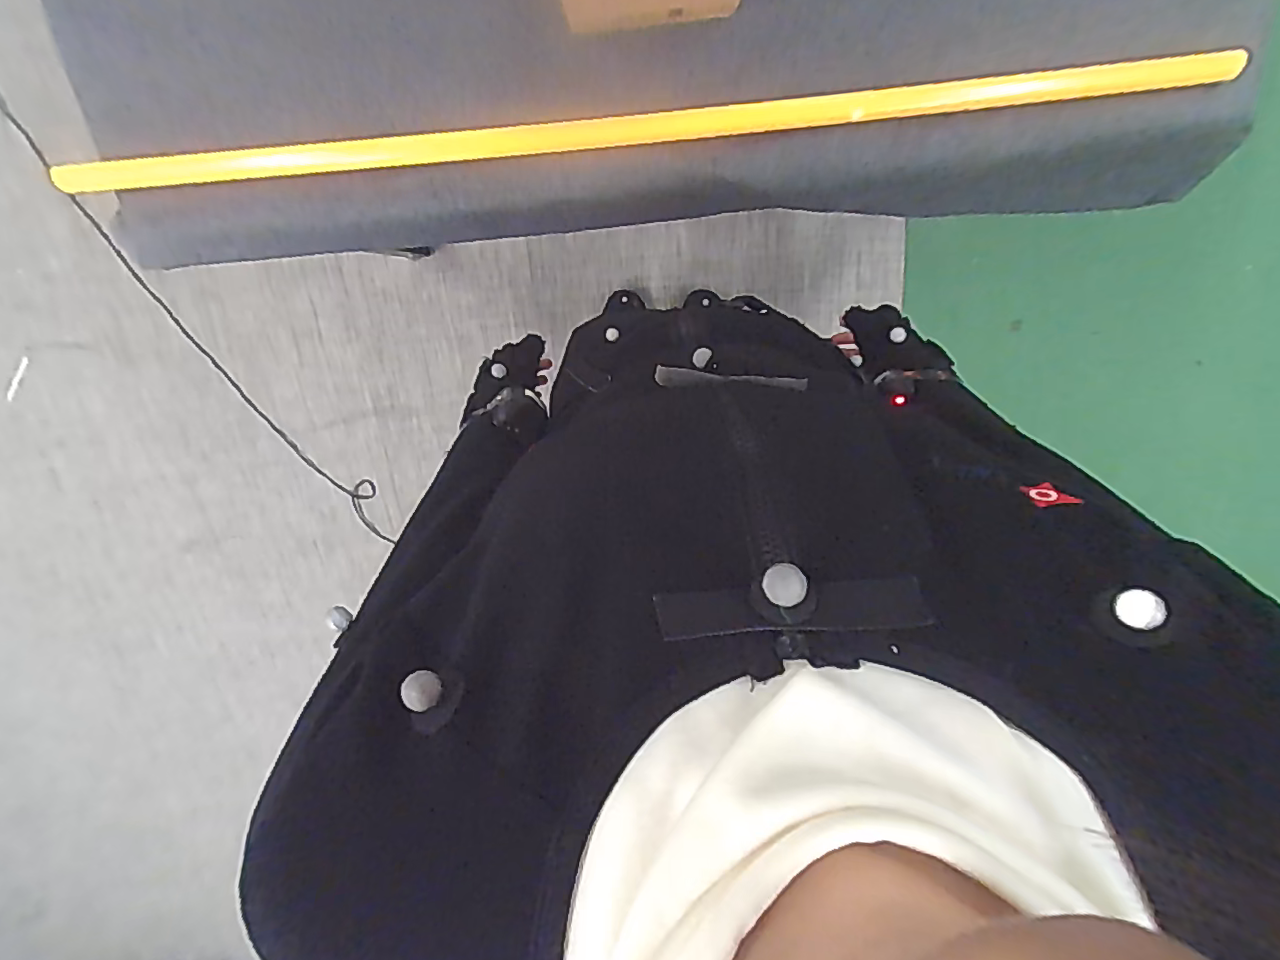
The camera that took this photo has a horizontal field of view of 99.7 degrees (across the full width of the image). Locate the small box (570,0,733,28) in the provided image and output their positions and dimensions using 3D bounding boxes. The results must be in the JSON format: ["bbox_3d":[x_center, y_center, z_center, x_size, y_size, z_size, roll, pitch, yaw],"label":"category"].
[{"bbox_3d":[0.005,-0.516,0.437,0.168,0.176,0.179,-5,109,2],"label":"small box"}]
